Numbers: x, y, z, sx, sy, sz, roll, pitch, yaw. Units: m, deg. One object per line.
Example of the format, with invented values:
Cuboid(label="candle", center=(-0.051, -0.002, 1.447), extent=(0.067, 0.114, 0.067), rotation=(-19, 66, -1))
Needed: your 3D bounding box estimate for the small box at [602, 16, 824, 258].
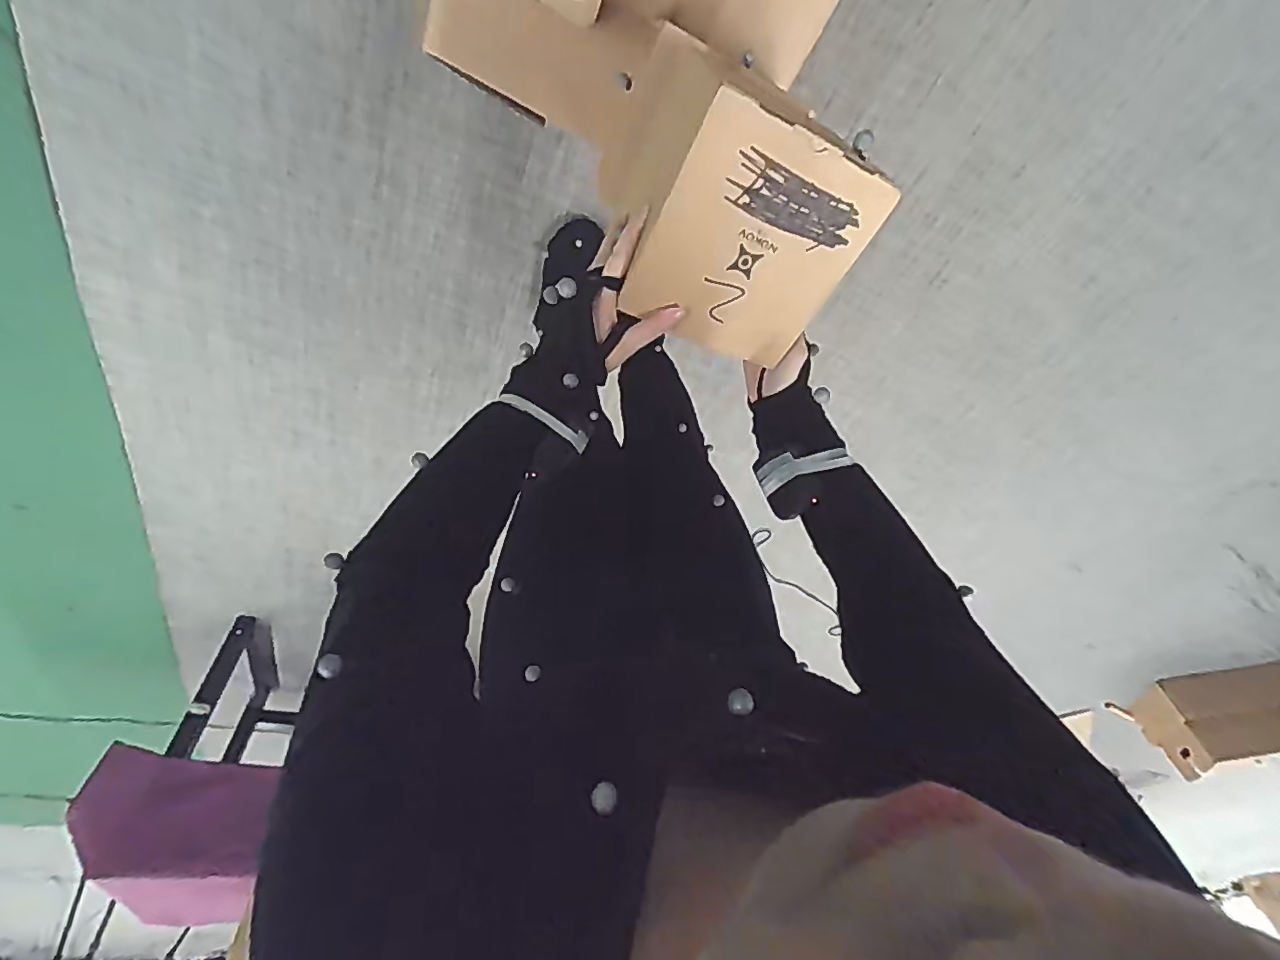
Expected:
Cuboid(label="small box", center=(0.067, -0.387, 0.610), extent=(0.179, 0.176, 0.168), rotation=(15, 129, -19))
